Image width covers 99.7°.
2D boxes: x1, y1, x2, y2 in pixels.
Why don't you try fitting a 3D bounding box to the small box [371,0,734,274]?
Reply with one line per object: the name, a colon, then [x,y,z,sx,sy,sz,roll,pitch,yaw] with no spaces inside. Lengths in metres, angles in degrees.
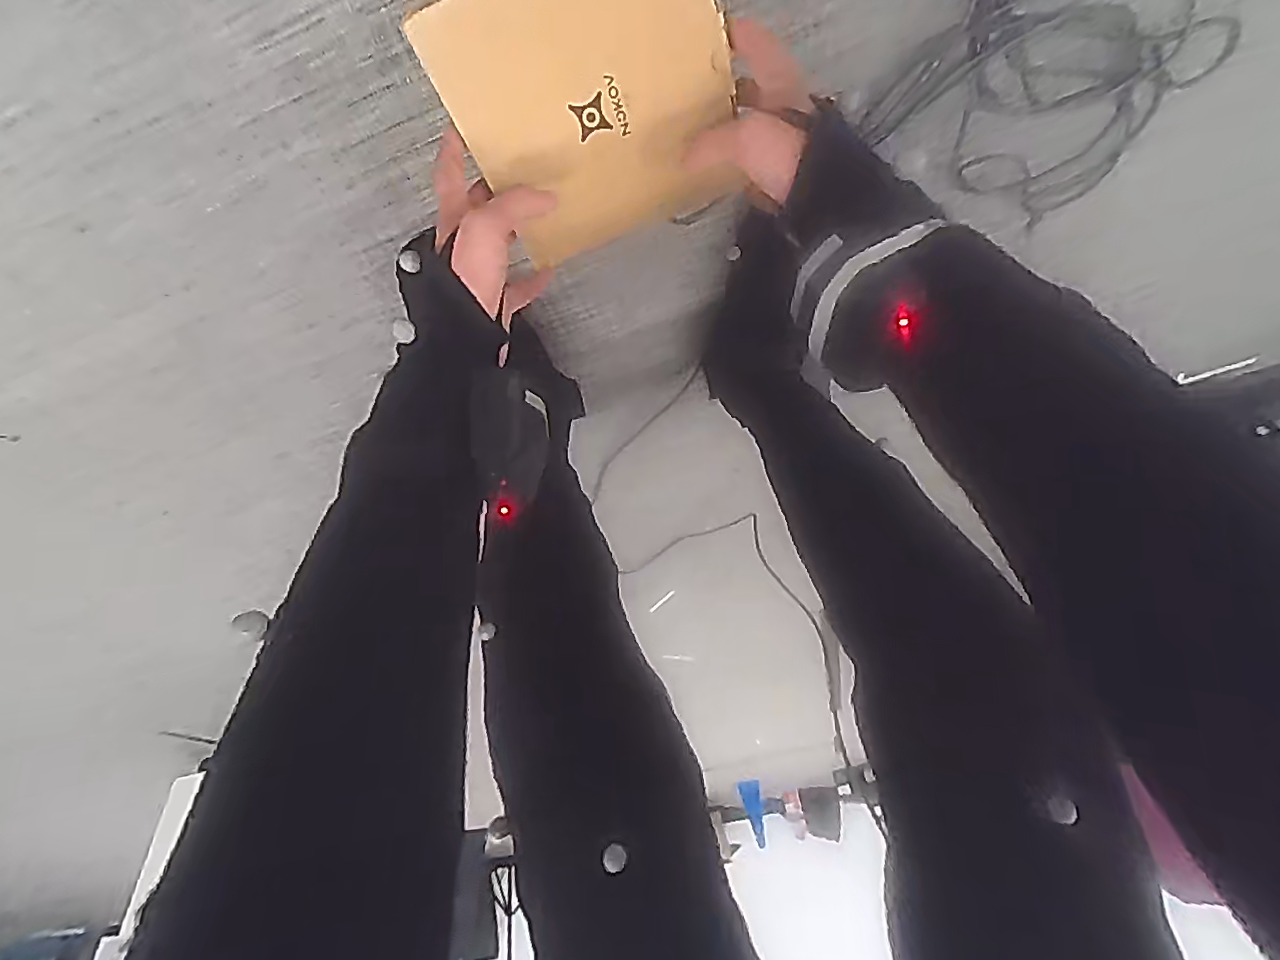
small box: [-0.050,-0.289,0.385,0.179,0.176,0.168,-19,141,10]
